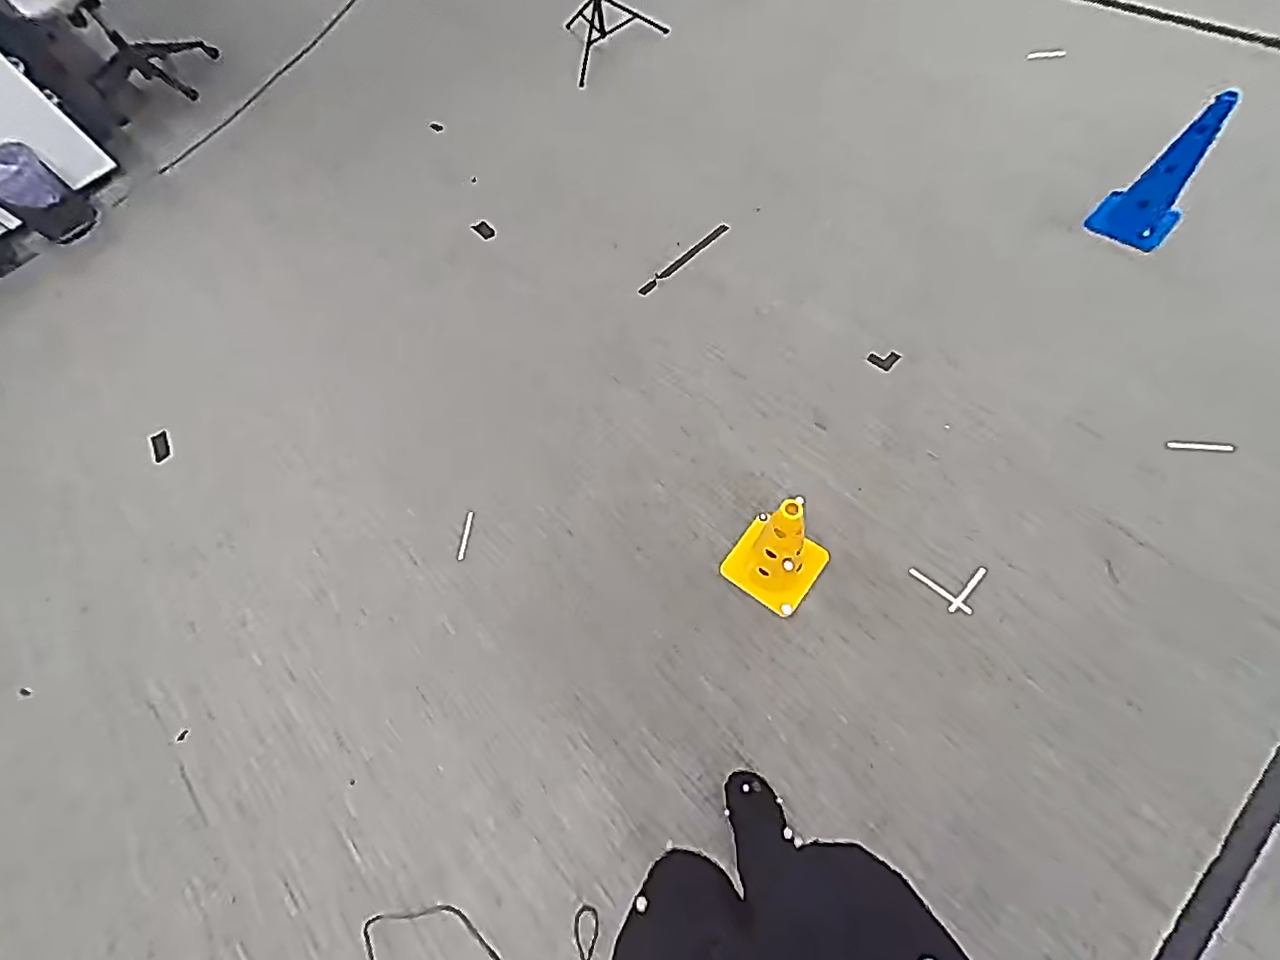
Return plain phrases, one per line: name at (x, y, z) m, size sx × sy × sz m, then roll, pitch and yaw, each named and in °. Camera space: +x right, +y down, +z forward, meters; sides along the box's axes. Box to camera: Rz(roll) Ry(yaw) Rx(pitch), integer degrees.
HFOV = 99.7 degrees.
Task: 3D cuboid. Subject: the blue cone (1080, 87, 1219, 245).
blue cone at (1.436, -0.864, 1.486) m, size 0.193 × 0.380 × 0.192 m, roll -43°, pitch 65°, yaw -13°
